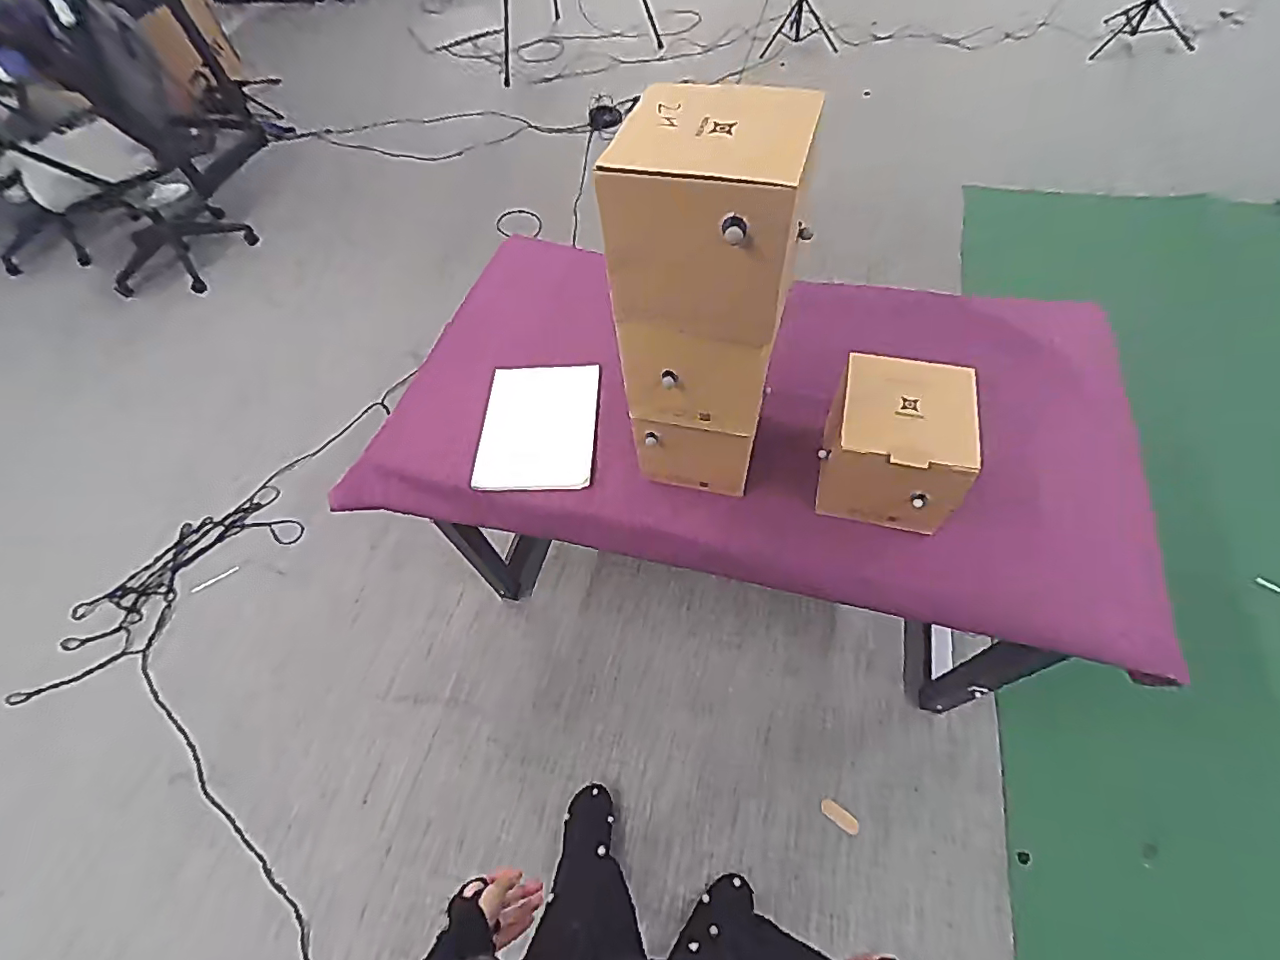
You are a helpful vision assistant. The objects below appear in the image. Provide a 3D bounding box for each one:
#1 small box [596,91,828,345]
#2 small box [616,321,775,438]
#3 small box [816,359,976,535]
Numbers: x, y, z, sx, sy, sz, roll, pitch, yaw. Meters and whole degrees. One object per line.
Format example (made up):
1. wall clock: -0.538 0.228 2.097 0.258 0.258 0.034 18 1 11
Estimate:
1. small box: 0.075 -0.260 0.551 0.179 0.176 0.168 13 58 14
2. small box: 0.082 -0.176 0.693 0.168 0.176 0.179 11 58 13
3. small box: 0.357 -0.043 0.775 0.168 0.176 0.179 12 58 12
